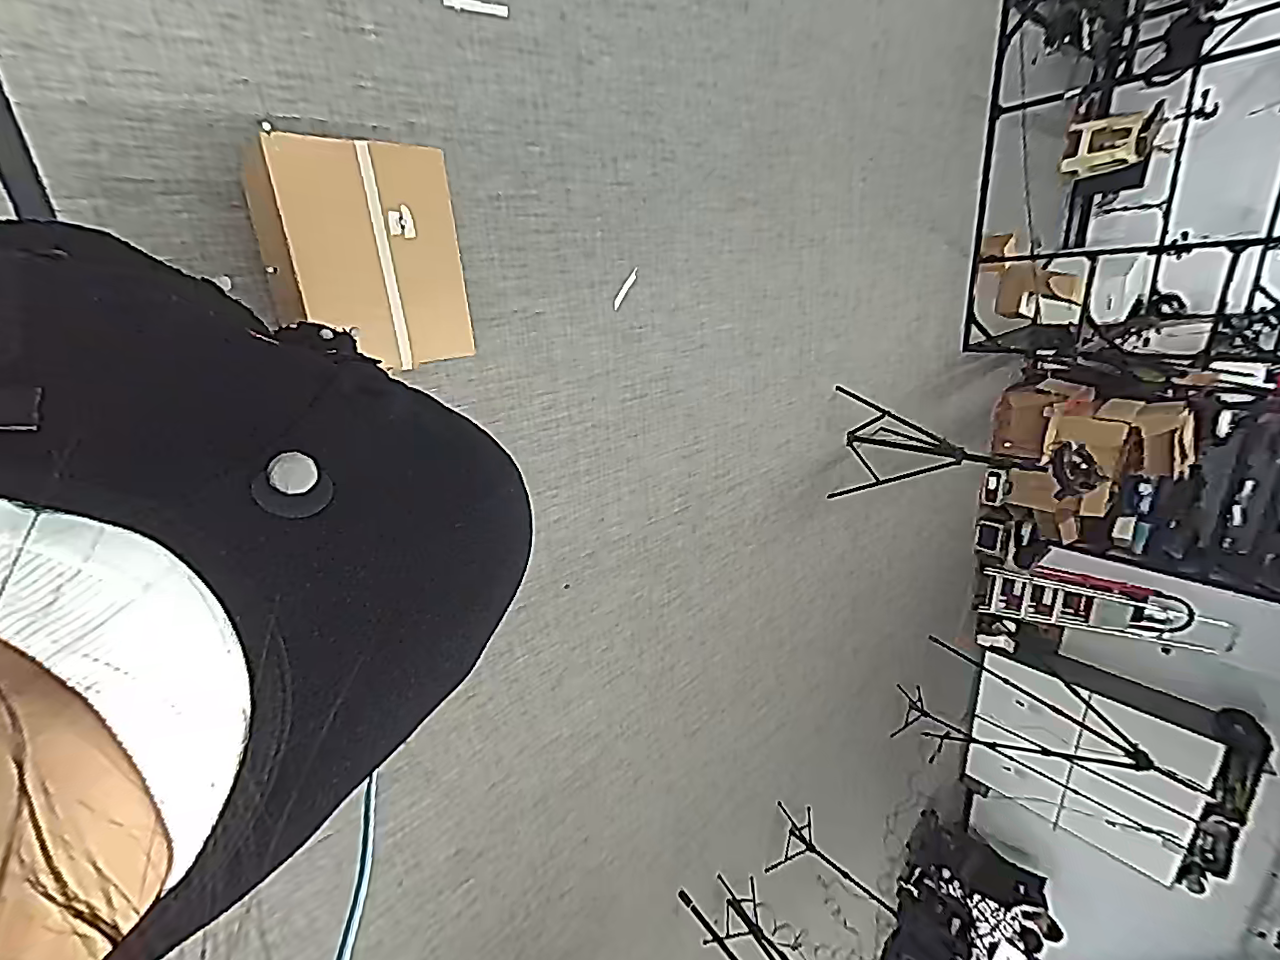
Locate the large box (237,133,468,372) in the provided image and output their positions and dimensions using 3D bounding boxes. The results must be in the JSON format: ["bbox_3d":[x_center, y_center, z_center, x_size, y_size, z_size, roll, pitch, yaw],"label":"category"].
[{"bbox_3d":[-0.612,-0.462,1.165,0.320,0.320,0.408,-20,114,-38],"label":"large box"}]
